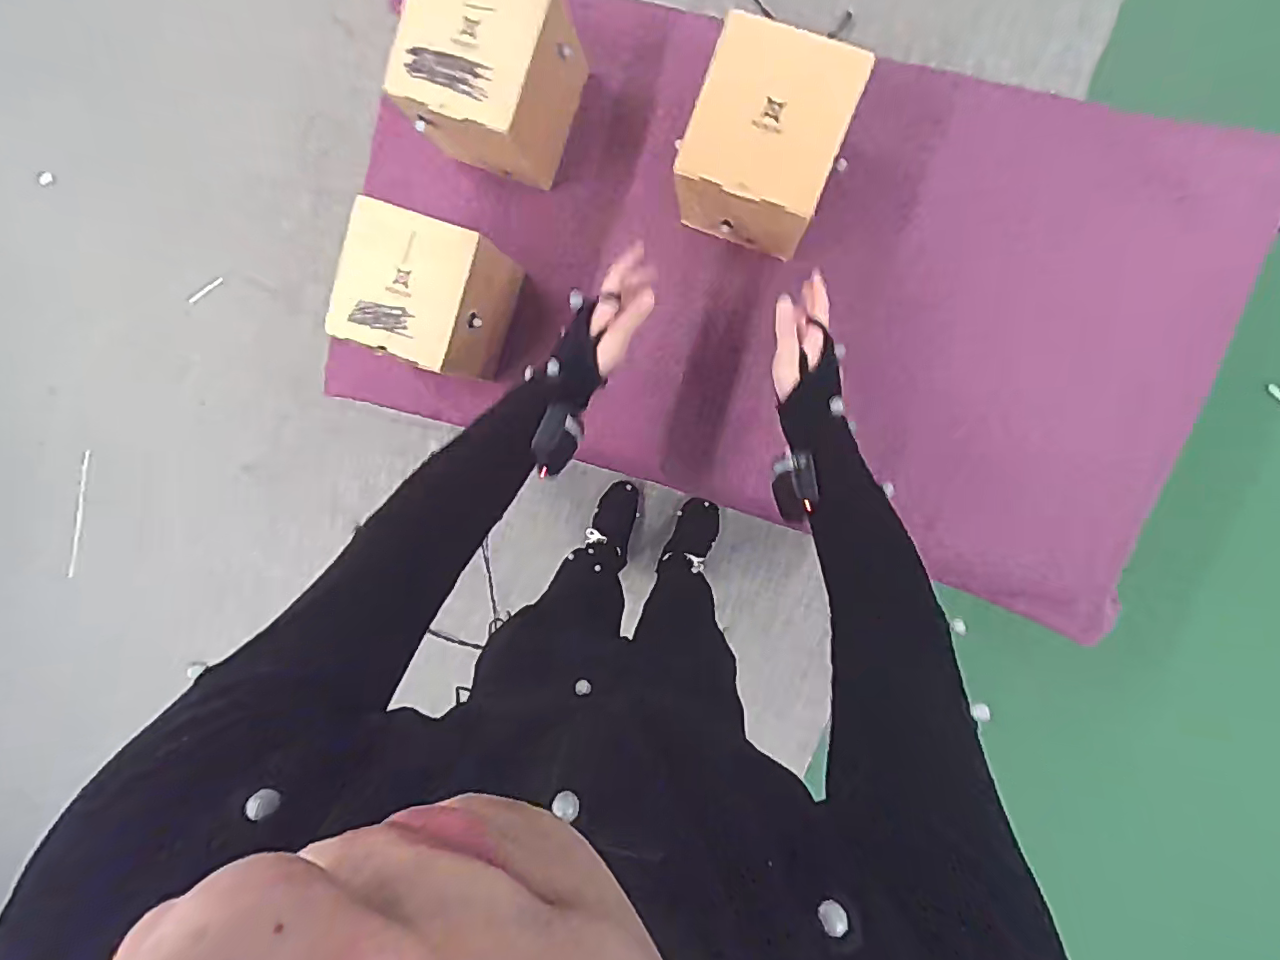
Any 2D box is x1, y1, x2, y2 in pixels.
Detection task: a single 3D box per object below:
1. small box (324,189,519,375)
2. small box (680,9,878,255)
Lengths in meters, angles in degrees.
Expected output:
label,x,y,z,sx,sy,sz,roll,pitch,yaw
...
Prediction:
label,x,y,z,sx,sy,sz,roll,pitch,yaw
small box,-0.284,-0.253,0.738,0.168,0.176,0.179,20,98,4
small box,0.157,-0.408,0.668,0.168,0.176,0.179,22,101,3
